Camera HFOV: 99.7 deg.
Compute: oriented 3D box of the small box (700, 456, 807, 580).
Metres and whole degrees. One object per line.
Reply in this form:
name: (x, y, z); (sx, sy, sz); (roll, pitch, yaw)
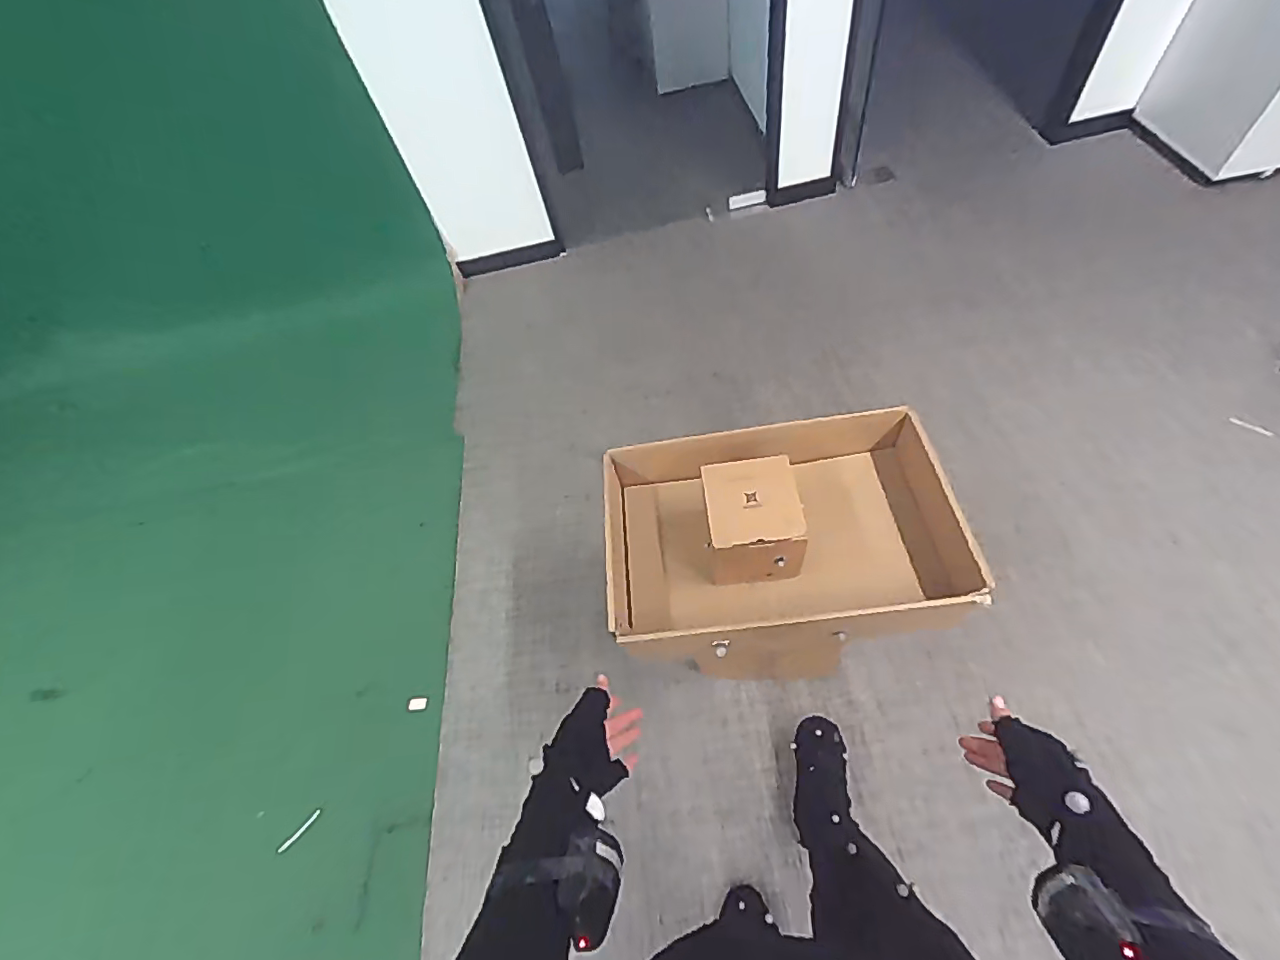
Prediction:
small box: (0.208, 0.081, 1.030); (0.168, 0.176, 0.179); (-7, 55, 3)
